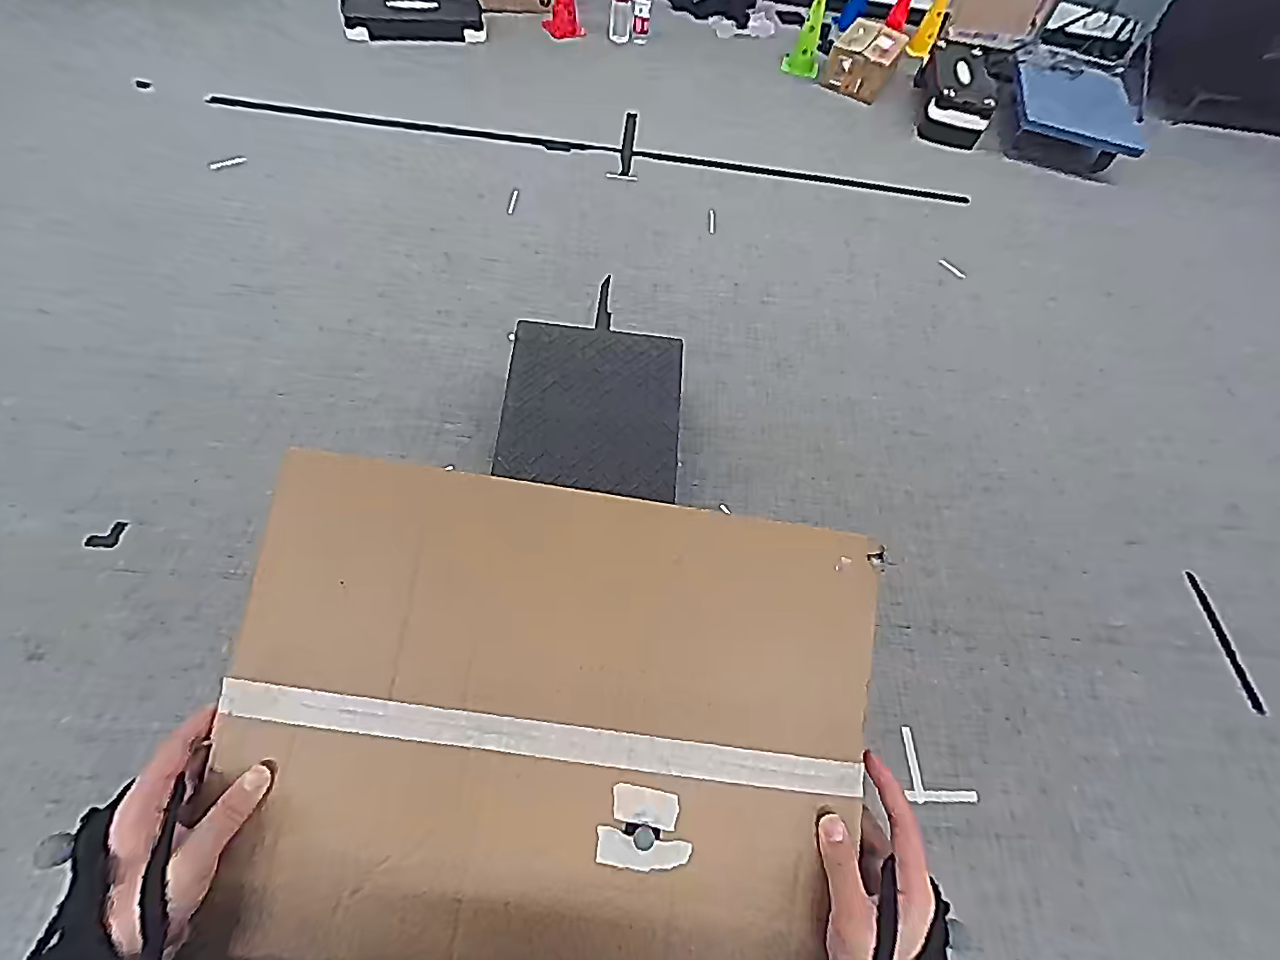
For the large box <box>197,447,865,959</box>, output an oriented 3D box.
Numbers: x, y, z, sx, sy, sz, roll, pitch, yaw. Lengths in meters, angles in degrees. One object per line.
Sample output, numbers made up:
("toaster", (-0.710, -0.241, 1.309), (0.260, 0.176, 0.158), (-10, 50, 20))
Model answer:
("large box", (-0.065, 0.172, 0.504), (0.408, 0.320, 0.320), (9, 83, -2))
